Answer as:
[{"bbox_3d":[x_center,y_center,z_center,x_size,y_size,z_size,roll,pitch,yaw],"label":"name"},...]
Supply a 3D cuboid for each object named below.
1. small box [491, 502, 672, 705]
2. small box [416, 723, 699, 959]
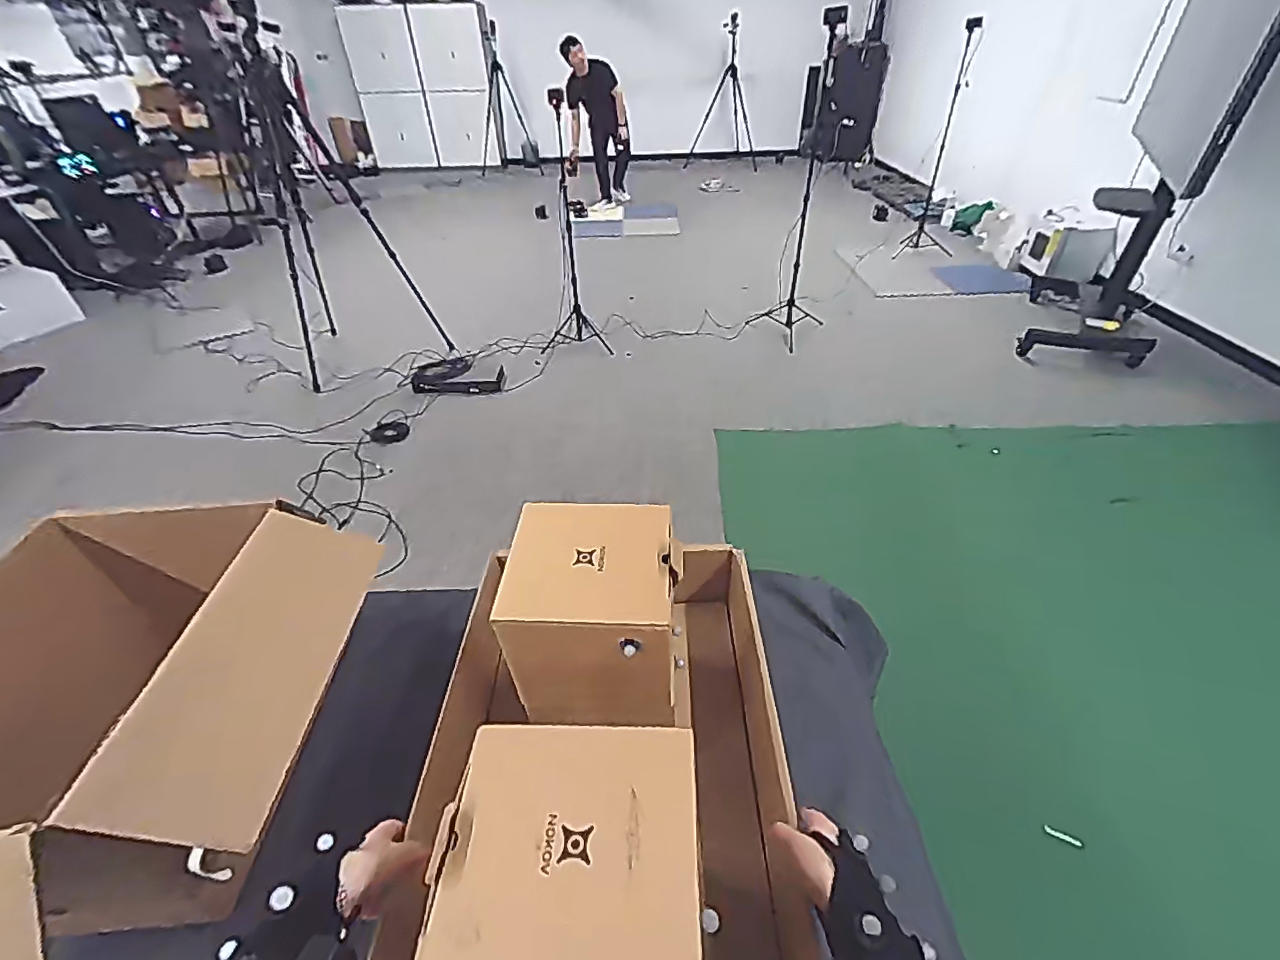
[{"bbox_3d":[-0.052,0.143,0.626,0.179,0.176,0.168,1,41,2],"label":"small box"},{"bbox_3d":[-0.045,0.312,0.427,0.179,0.176,0.168,-1,41,3],"label":"small box"}]
